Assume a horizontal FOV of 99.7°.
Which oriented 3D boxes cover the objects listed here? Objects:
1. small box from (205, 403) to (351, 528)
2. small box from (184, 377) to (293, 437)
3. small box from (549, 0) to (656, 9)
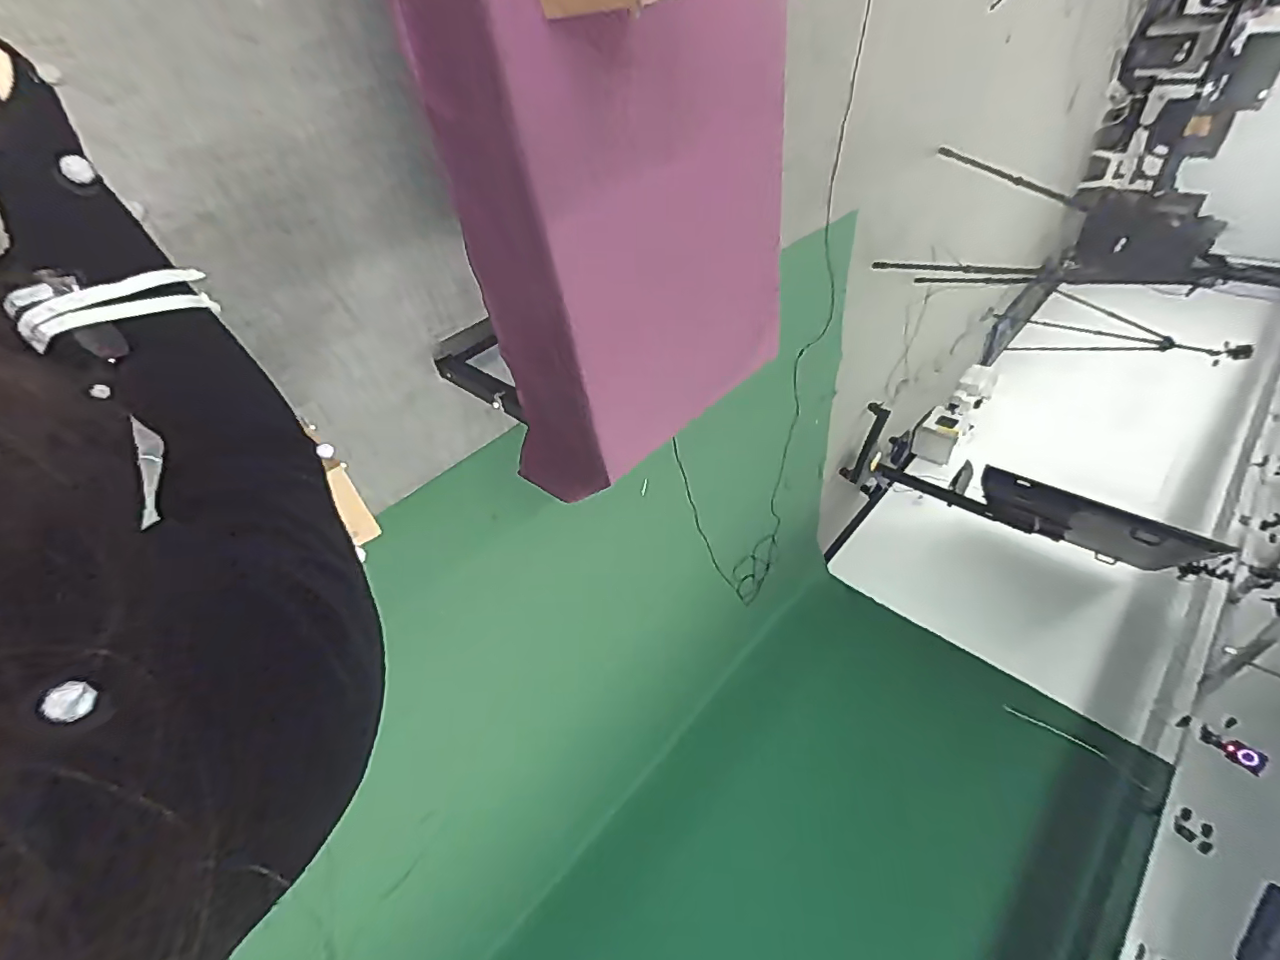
[{"bbox_3d":[-0.744,-0.039,1.111,0.168,0.176,0.179,-38,140,-27],"label":"small box"},{"bbox_3d":[-0.859,-0.112,1.199,0.168,0.176,0.179,-37,139,-30],"label":"small box"},{"bbox_3d":[-0.024,-0.643,0.592,0.168,0.176,0.179,-41,141,-26],"label":"small box"}]
